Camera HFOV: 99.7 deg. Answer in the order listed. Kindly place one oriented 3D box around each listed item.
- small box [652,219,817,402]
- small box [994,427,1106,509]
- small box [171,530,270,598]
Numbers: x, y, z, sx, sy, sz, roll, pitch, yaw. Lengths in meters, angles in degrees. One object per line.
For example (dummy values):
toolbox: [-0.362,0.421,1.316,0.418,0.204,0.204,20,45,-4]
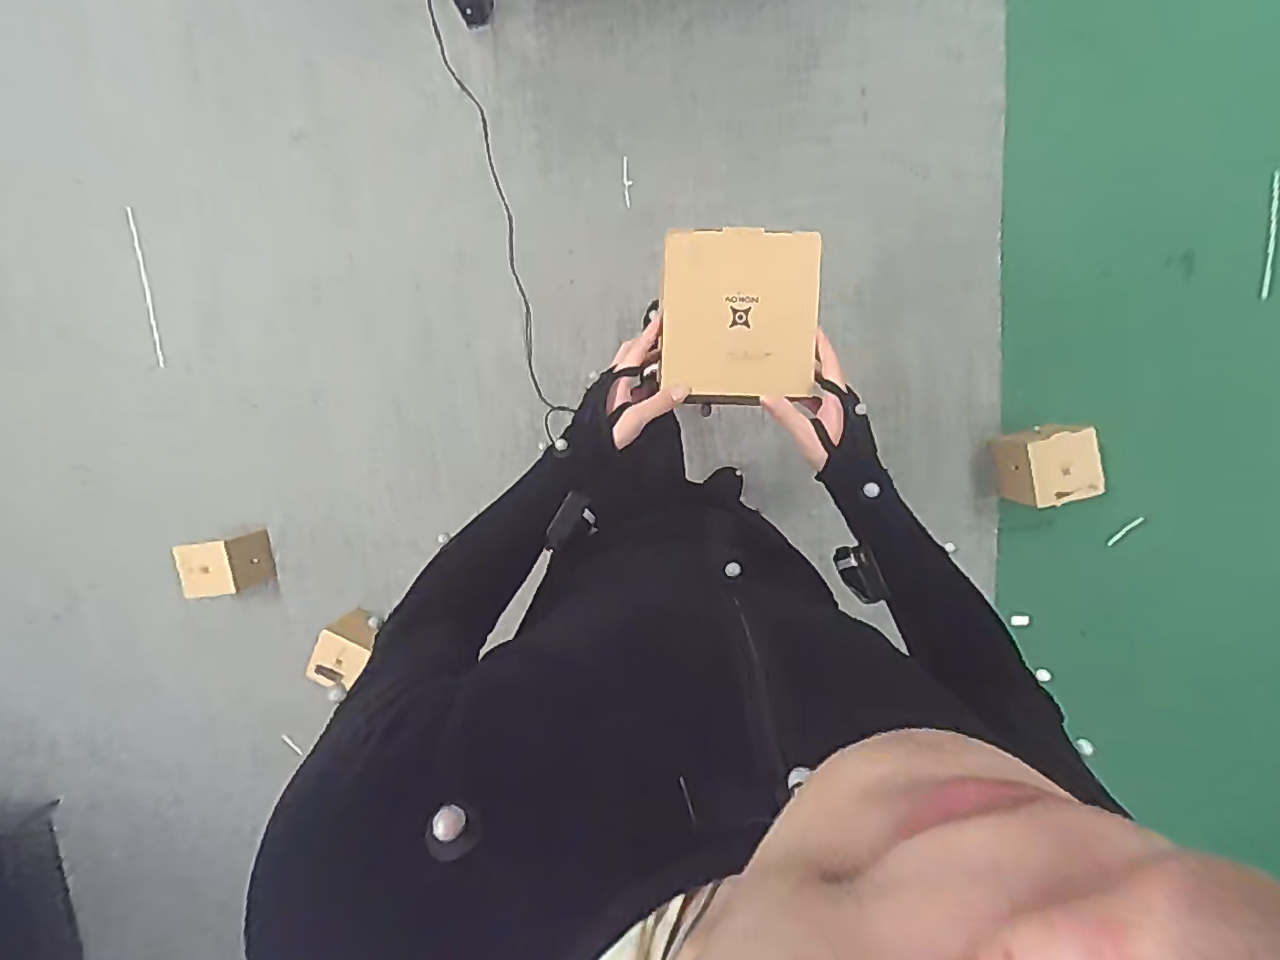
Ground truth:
small box: [0.101,-0.189,0.649,0.168,0.176,0.179,2,95,0]
small box: [1.072,-0.037,1.429,0.168,0.176,0.179,-14,96,7]
small box: [-1.300,0.258,1.693,0.179,0.176,0.168,-7,97,6]
